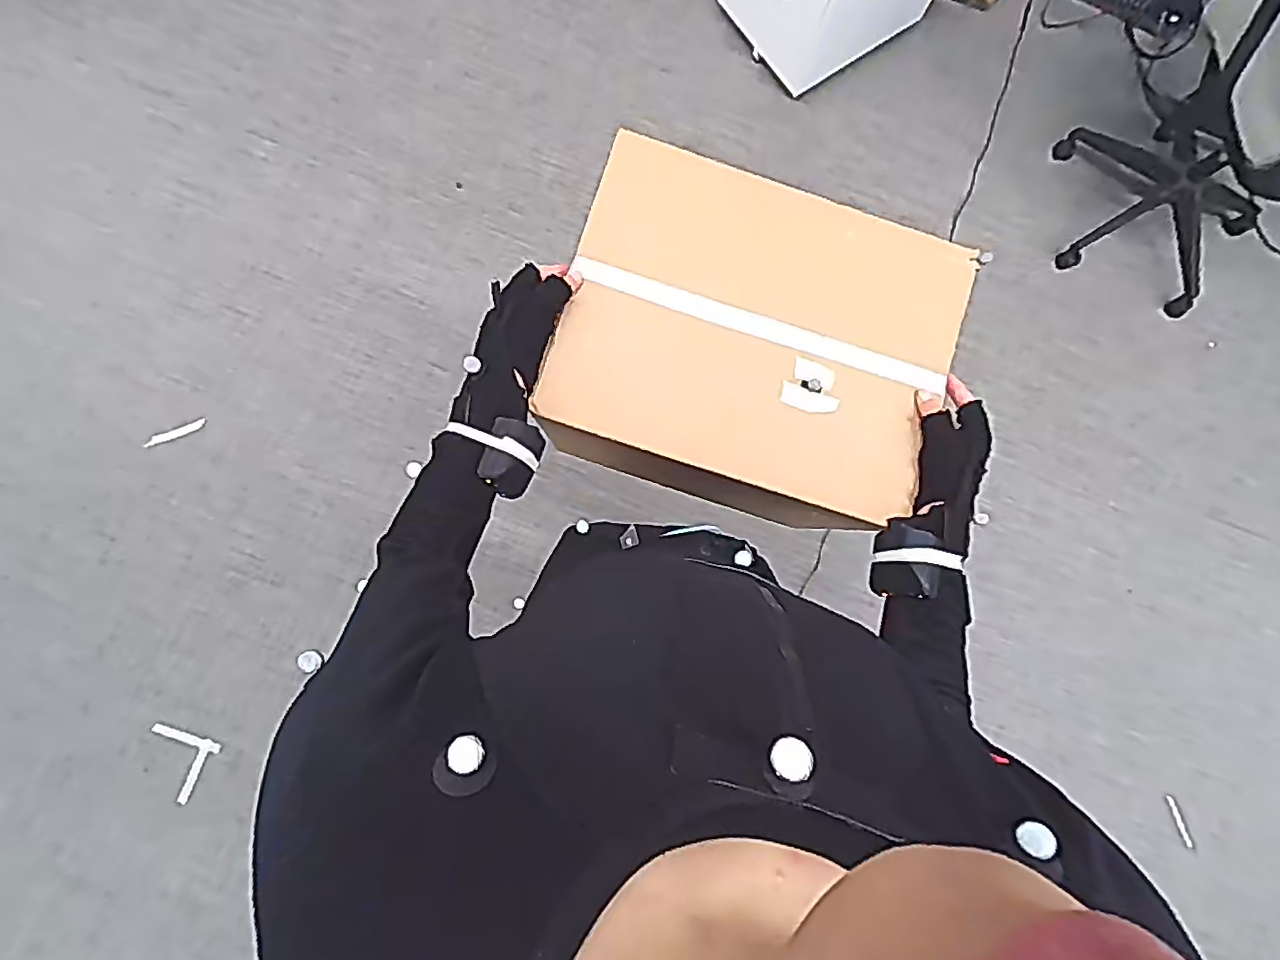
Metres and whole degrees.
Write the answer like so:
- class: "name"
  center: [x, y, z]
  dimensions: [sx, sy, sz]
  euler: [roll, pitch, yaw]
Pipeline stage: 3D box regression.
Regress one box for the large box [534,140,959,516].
- class: "large box"
  center: [0.108, -0.154, 0.721]
  dimensions: [0.408, 0.320, 0.320]
  euler: [18, 86, -3]
